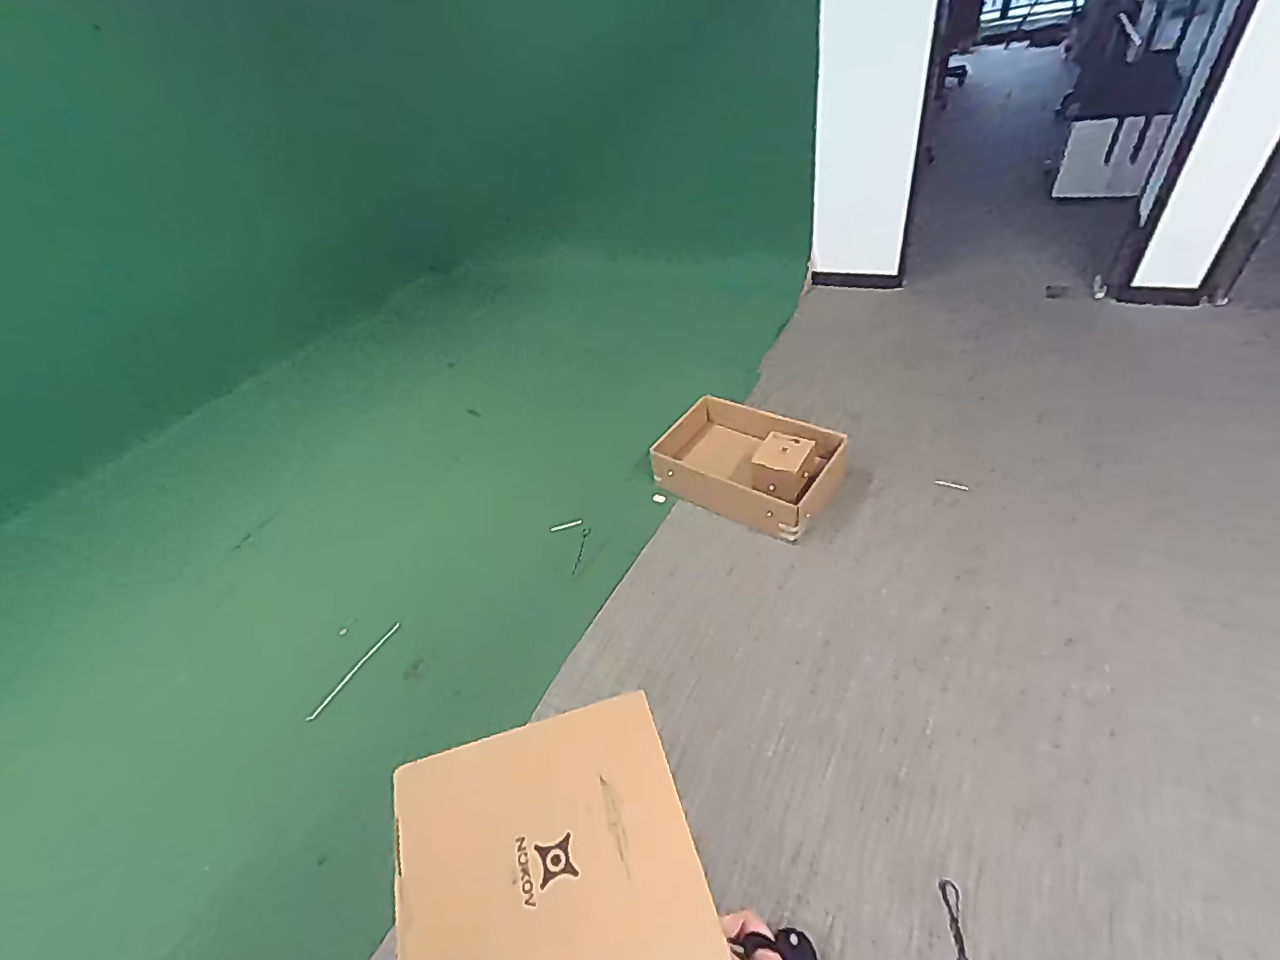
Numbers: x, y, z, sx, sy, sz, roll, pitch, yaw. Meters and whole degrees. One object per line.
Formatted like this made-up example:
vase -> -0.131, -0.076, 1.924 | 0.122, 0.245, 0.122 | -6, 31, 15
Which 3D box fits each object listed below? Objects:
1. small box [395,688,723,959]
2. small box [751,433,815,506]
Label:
small box -> -0.059, 0.281, 0.390 | 0.179, 0.176, 0.168 | -12, 51, -13
small box -> 0.510, -0.036, 1.913 | 0.168, 0.176, 0.179 | 18, 53, 31
